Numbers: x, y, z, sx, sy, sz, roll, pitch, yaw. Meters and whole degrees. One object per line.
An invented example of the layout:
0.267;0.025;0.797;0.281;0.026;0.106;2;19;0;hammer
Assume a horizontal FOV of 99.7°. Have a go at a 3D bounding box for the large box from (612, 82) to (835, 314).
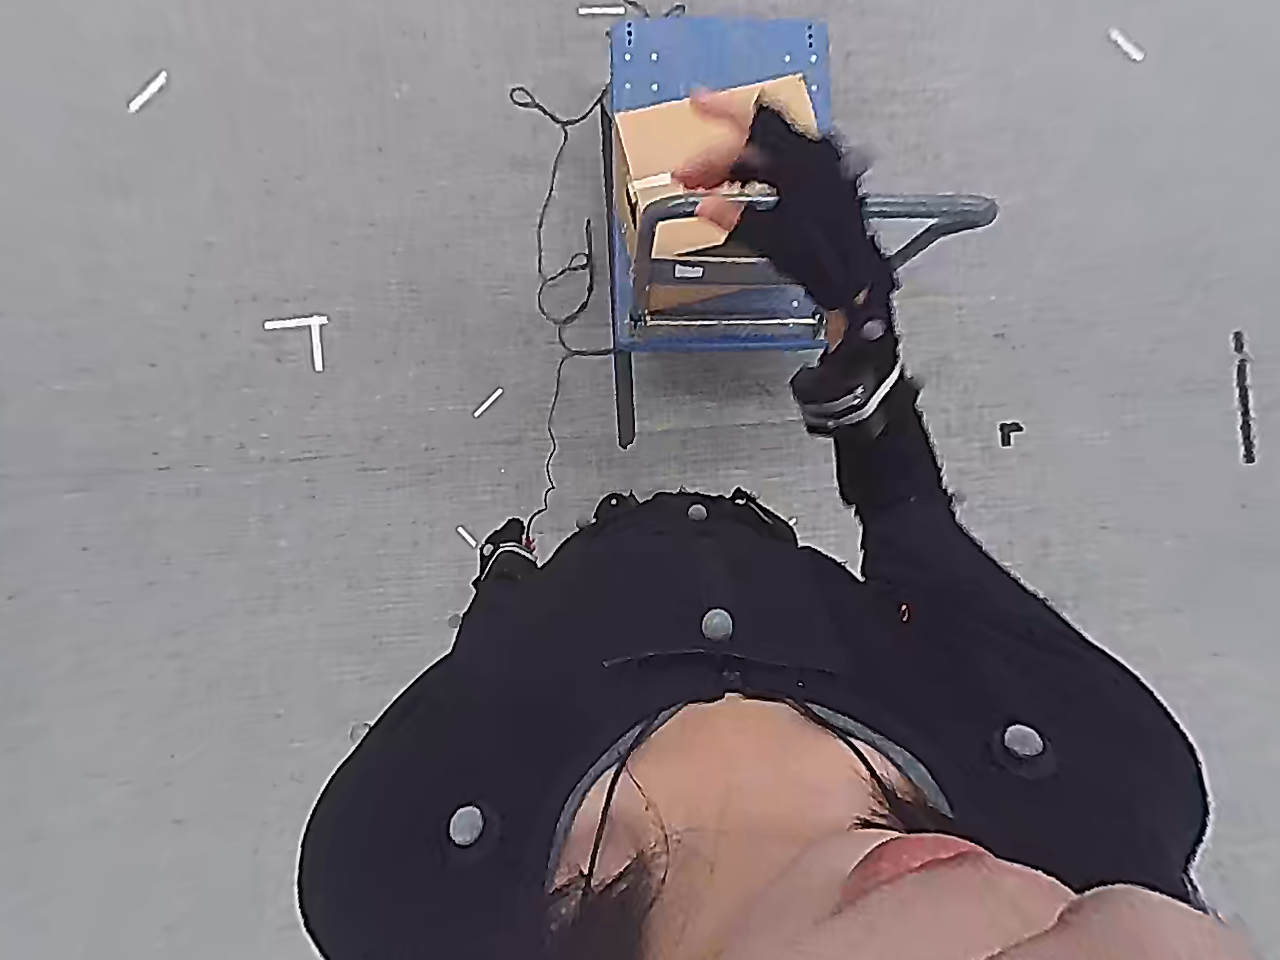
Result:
0.167;-0.626;1.258;0.408;0.320;0.320;-15;88;-4;large box
